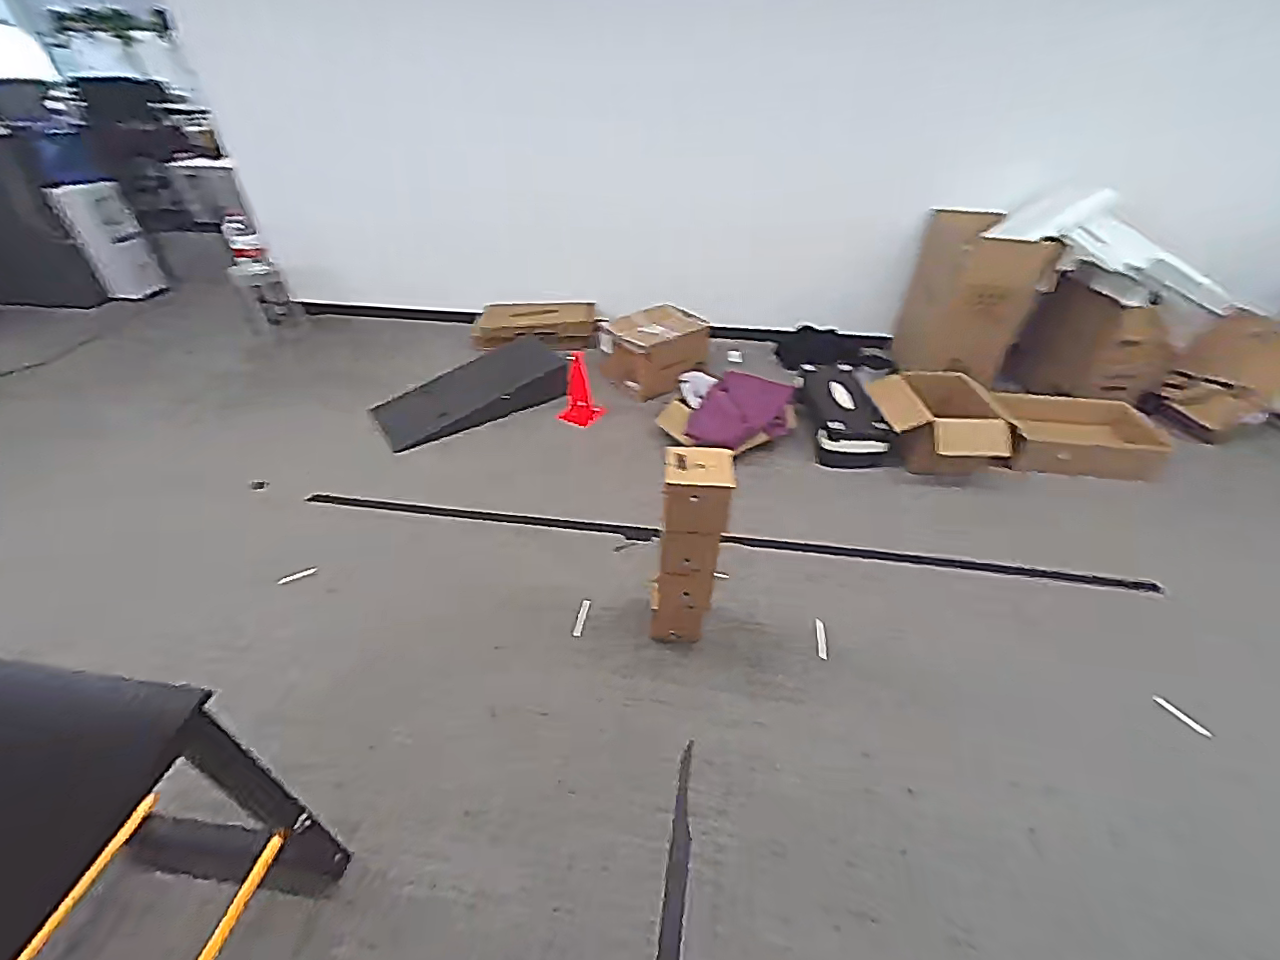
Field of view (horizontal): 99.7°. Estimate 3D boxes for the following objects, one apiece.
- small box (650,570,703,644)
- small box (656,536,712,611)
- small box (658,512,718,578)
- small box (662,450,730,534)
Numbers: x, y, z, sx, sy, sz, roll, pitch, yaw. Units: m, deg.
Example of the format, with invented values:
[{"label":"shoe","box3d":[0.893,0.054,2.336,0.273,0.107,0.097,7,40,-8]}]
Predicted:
[{"label":"small box","box3d":[0.119,0.419,1.790,0.168,0.176,0.179,1,40,3]},{"label":"small box","box3d":[0.135,0.293,1.686,0.168,0.176,0.179,0,39,2]},{"label":"small box","box3d":[0.142,0.161,1.585,0.168,0.176,0.179,3,39,6]},{"label":"small box","box3d":[0.149,0.033,1.482,0.179,0.176,0.168,2,38,3]}]
